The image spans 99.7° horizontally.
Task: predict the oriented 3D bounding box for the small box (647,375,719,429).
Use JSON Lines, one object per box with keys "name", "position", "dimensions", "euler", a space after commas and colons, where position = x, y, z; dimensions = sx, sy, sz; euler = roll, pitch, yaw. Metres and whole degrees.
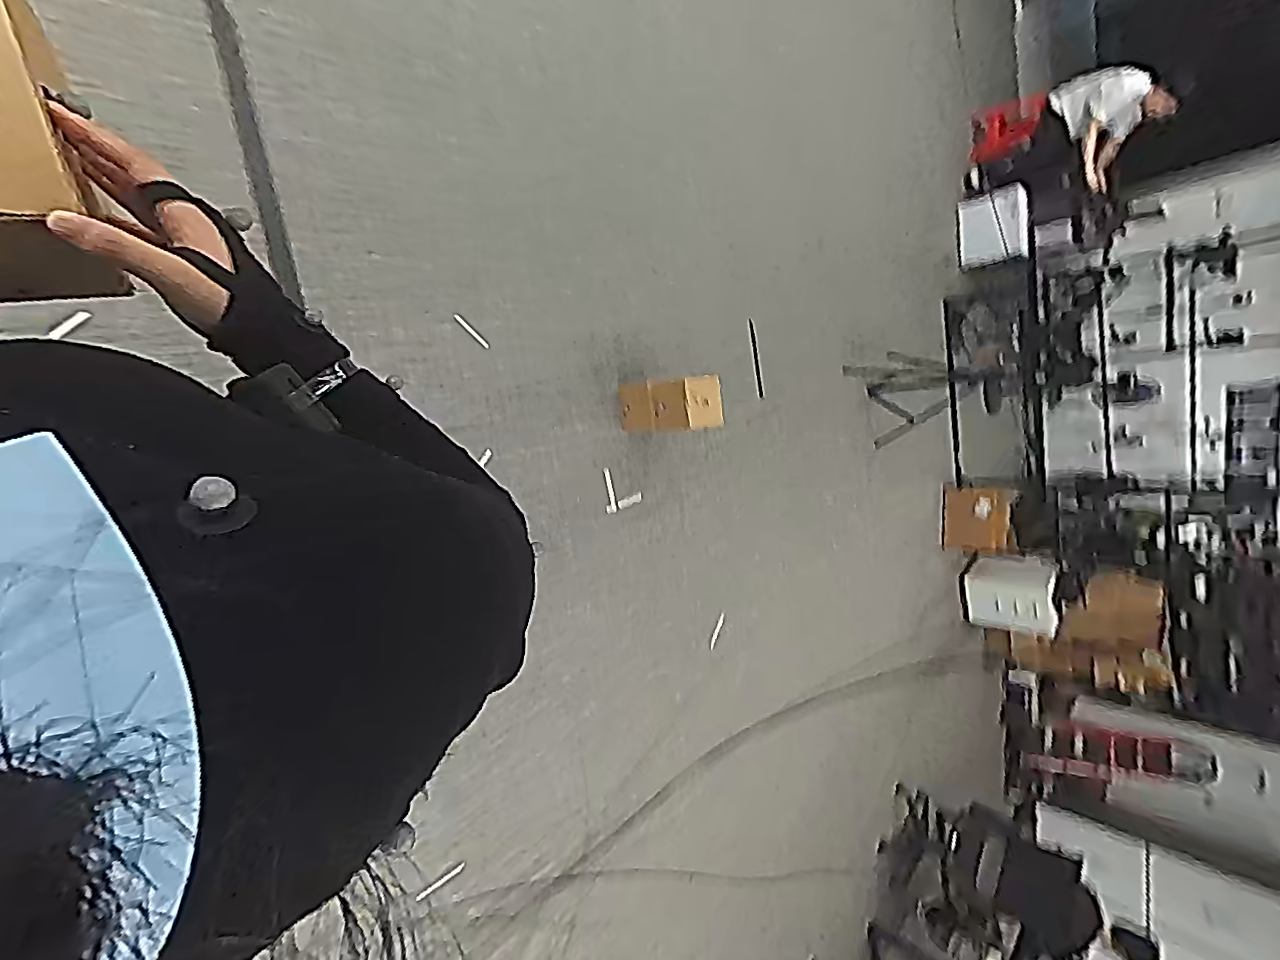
{"name": "small box", "position": [0.147, -0.268, 1.862], "dimensions": [0.179, 0.176, 0.168], "euler": [-12, 98, -41]}
